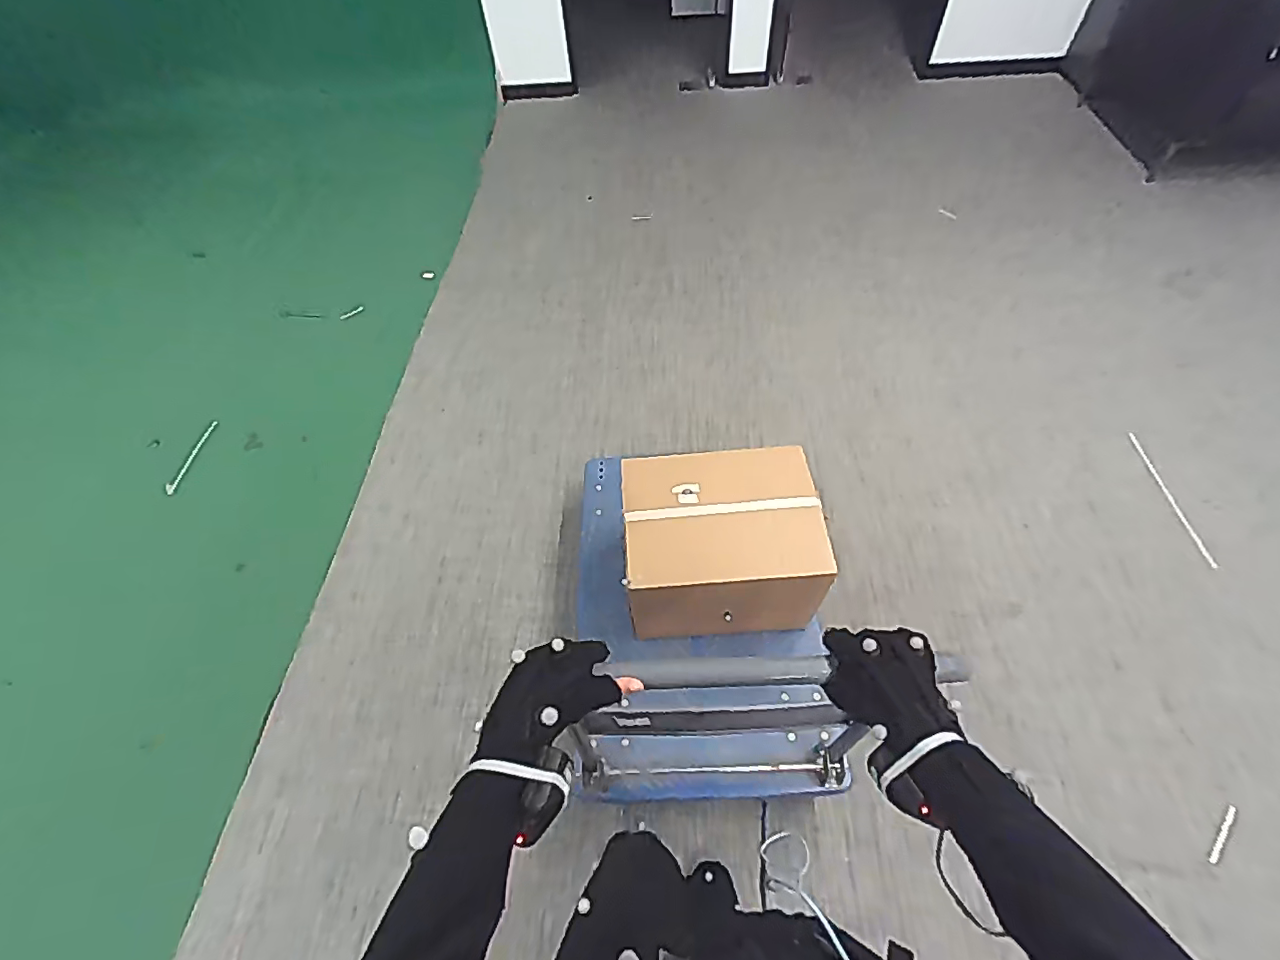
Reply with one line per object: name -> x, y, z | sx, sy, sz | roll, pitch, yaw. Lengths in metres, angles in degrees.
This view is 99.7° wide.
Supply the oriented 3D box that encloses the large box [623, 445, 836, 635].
large box -> 0.185, 0.150, 1.254 | 0.408, 0.320, 0.320 | -6, 55, 2
